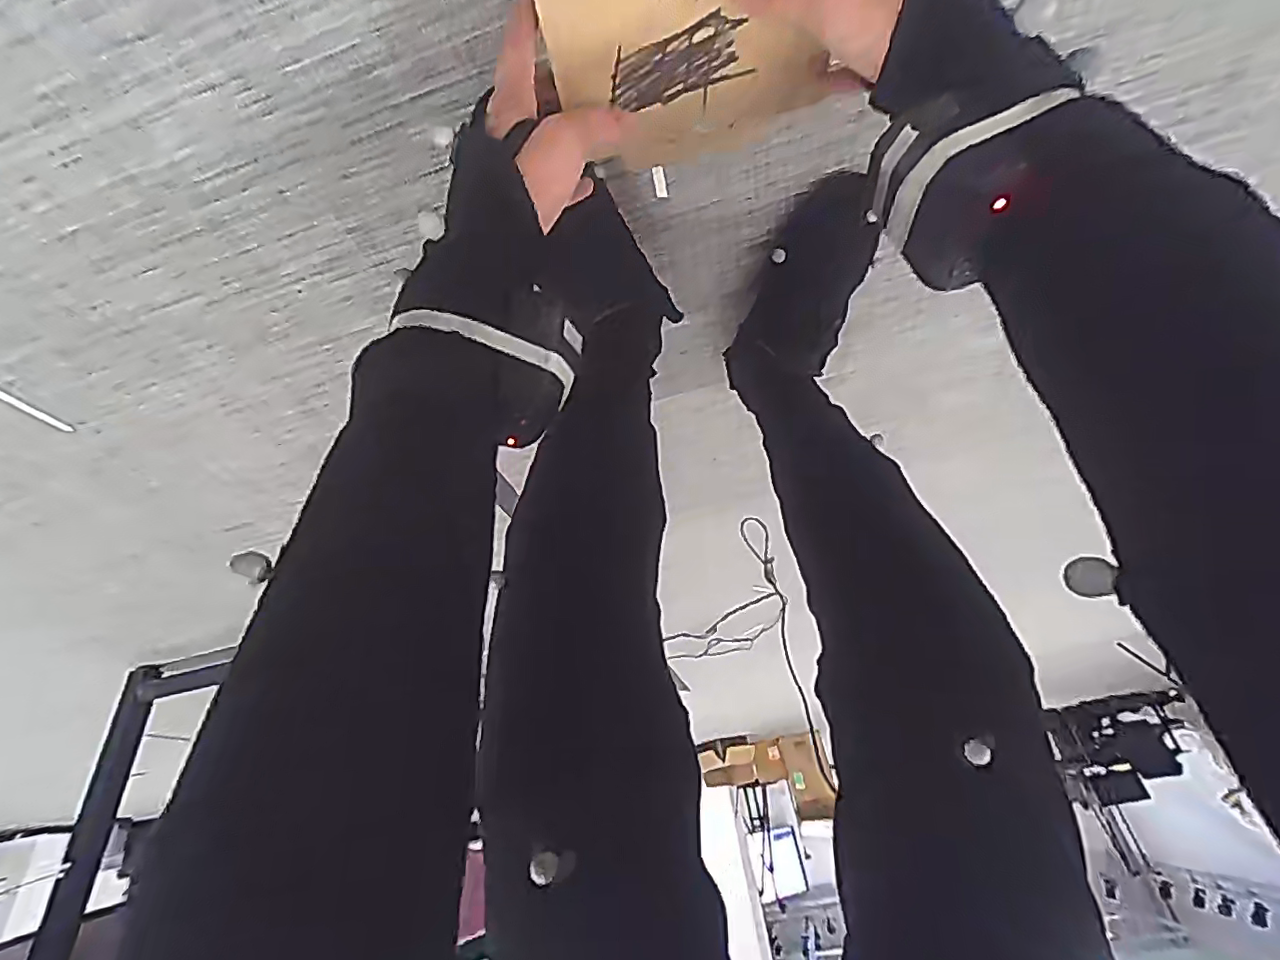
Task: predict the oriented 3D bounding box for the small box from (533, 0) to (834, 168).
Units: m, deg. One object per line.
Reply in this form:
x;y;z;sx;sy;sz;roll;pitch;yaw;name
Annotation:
0.012;-0.333;0.322;0.168;0.176;0.179;-13;148;3;small box
